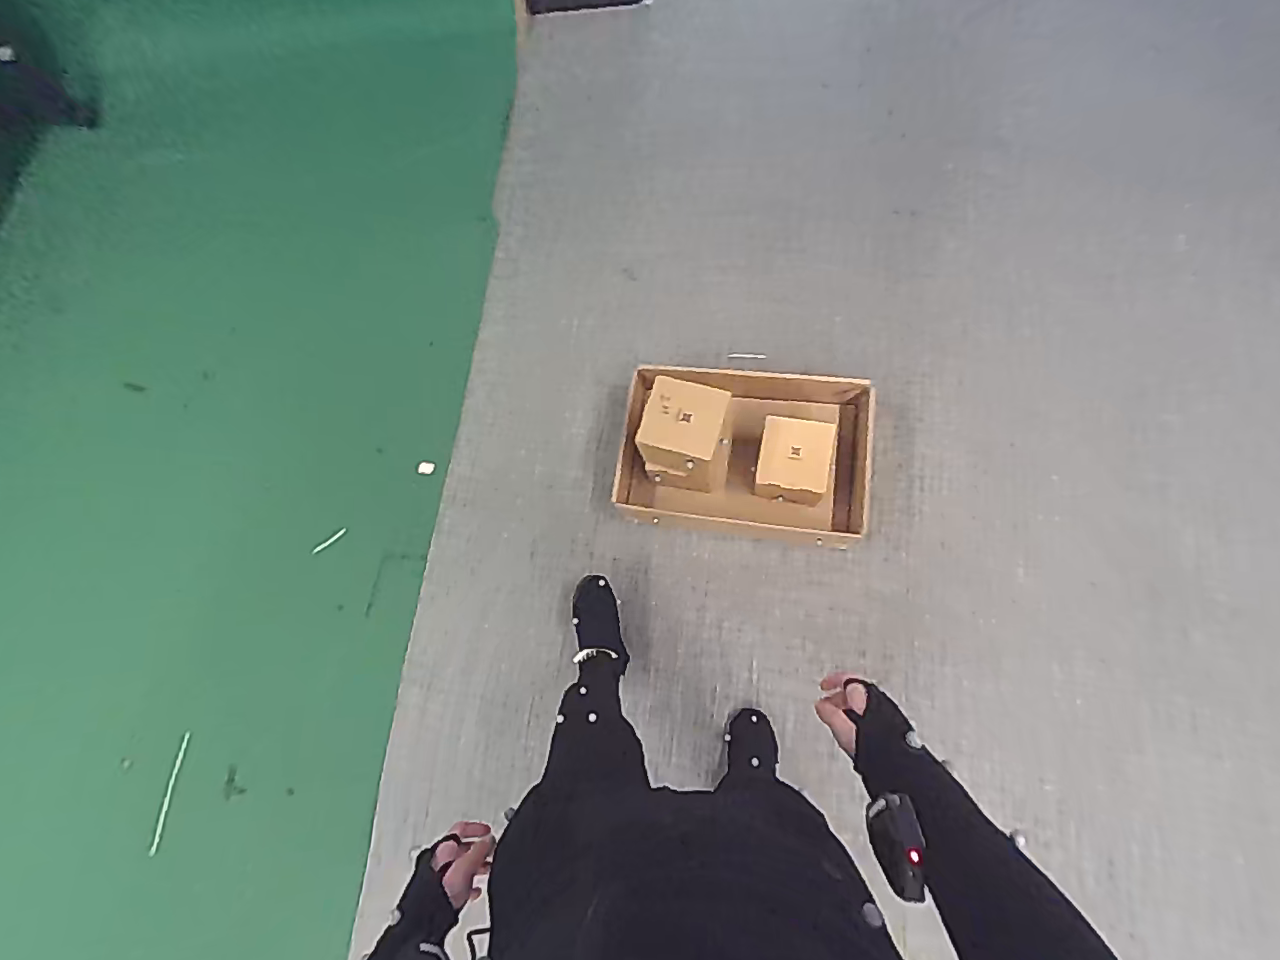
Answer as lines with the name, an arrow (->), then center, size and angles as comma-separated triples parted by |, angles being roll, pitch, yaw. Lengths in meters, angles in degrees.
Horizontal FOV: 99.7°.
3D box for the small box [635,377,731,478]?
small box -> 0.105, -0.115, 1.266 | 0.179, 0.176, 0.168 | 16, 78, 12
